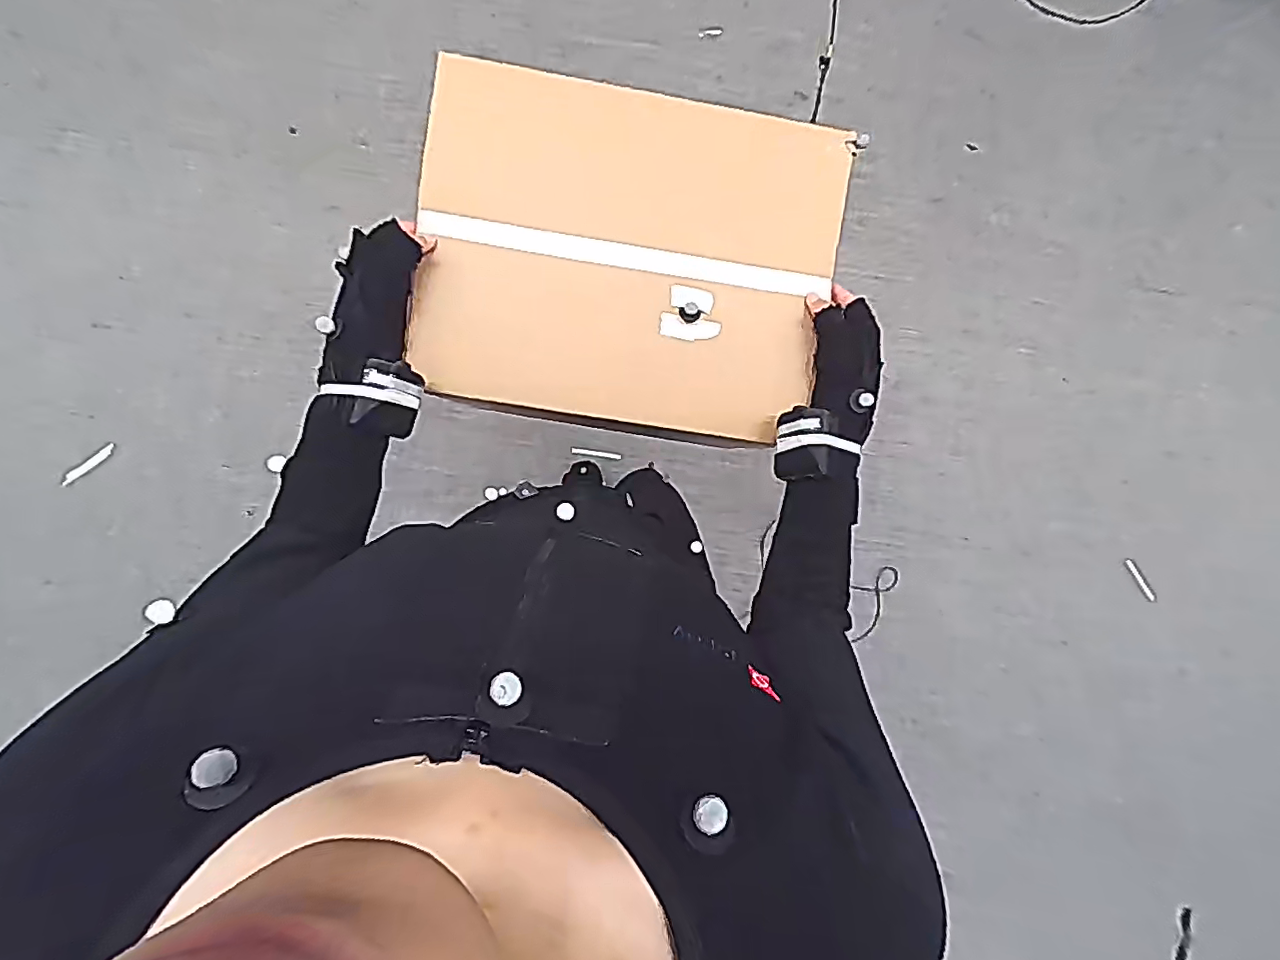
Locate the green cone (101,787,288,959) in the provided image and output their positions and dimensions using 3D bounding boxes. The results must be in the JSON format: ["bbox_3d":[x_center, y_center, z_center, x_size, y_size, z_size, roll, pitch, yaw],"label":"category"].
[{"bbox_3d":[-1.044,0.928,1.245,0.202,0.368,0.200,-30,90,-1],"label":"green cone"}]

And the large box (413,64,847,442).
[{"bbox_3d":[-0.018,-0.228,0.680,0.408,0.320,0.320,8,93,-4],"label":"large box"}]
